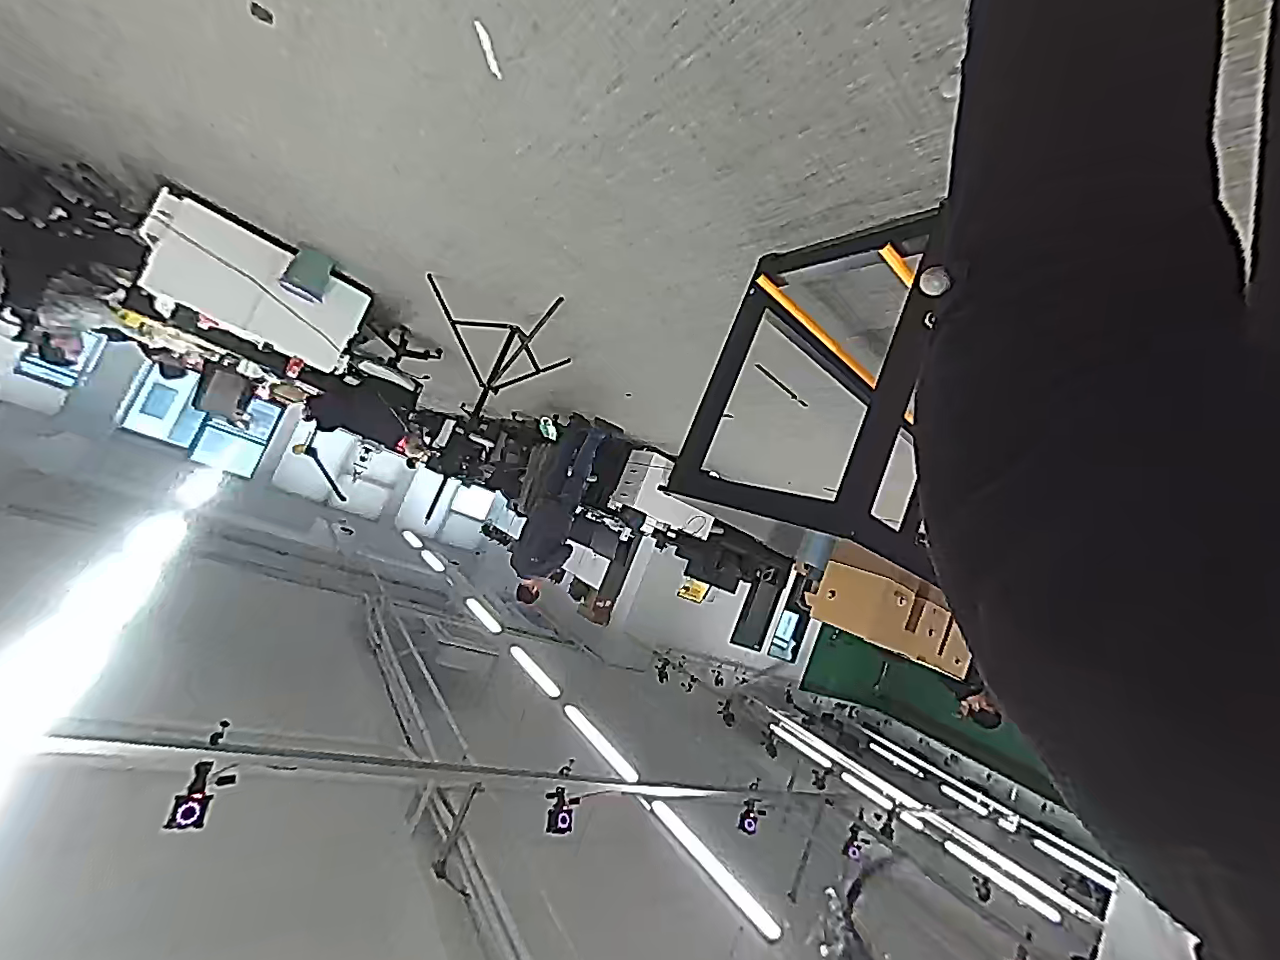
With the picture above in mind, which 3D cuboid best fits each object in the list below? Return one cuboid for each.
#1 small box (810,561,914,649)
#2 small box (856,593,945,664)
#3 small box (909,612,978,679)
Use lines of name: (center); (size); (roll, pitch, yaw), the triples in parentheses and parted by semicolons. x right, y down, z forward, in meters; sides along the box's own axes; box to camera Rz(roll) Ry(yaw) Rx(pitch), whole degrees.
small box: (0.594, 0.327, 1.441); (0.168, 0.176, 0.179); (25, 173, -35)
small box: (0.759, 0.411, 1.570); (0.168, 0.176, 0.179); (27, 172, -34)
small box: (0.918, 0.492, 1.689); (0.179, 0.176, 0.168); (27, 172, -32)
